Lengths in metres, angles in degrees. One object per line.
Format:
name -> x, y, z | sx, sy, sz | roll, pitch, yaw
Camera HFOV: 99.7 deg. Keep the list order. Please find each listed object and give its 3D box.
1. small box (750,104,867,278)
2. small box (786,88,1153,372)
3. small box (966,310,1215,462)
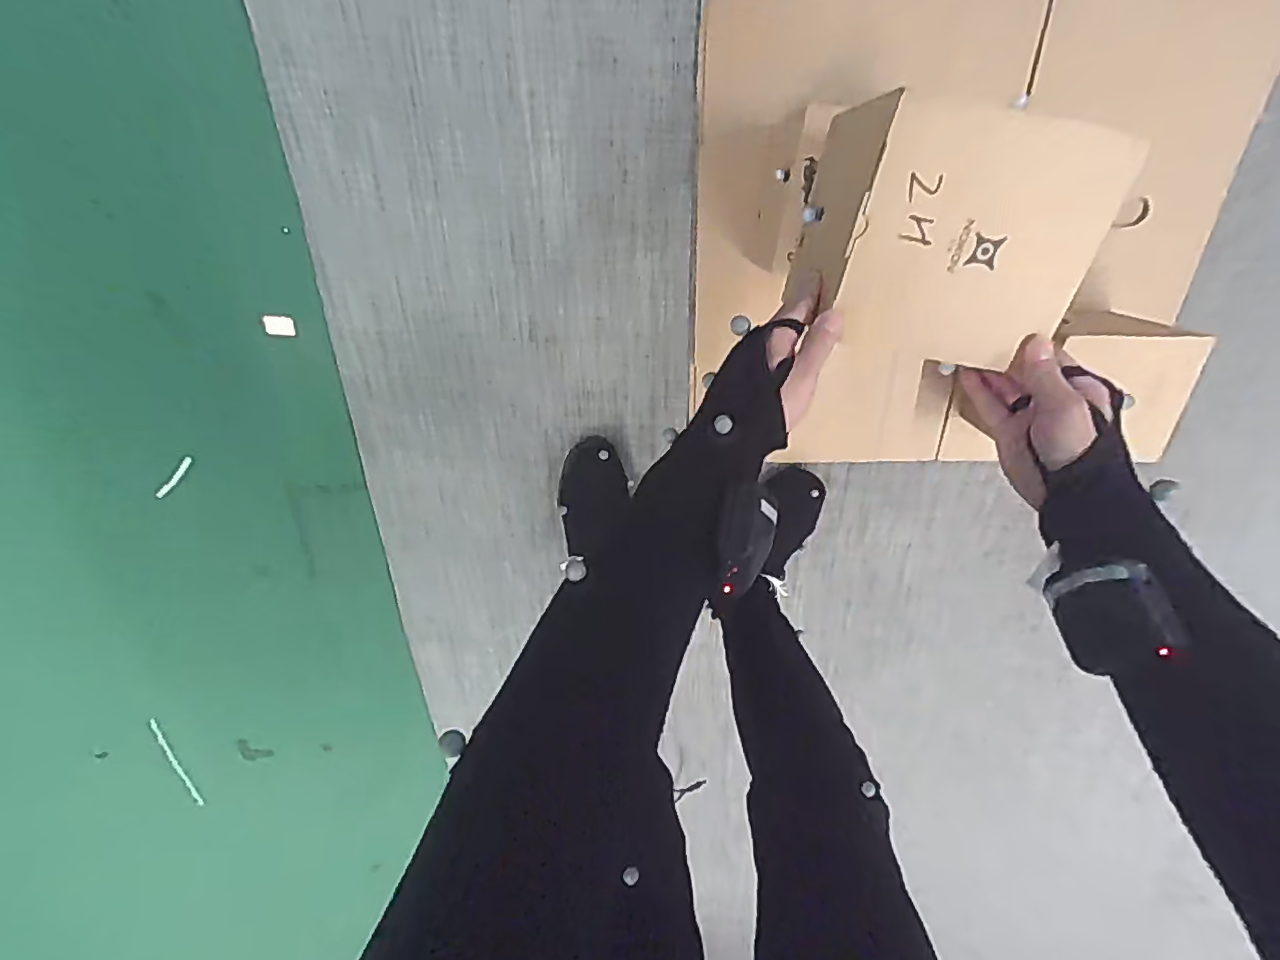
small box -> 0.246, -0.329, 0.649 | 0.179, 0.176, 0.168 | 7, 117, -3
small box -> 0.244, -0.207, 0.459 | 0.179, 0.176, 0.168 | 9, 118, -2
small box -> 0.589, -0.135, 0.741 | 0.179, 0.176, 0.168 | 1, 117, 1
